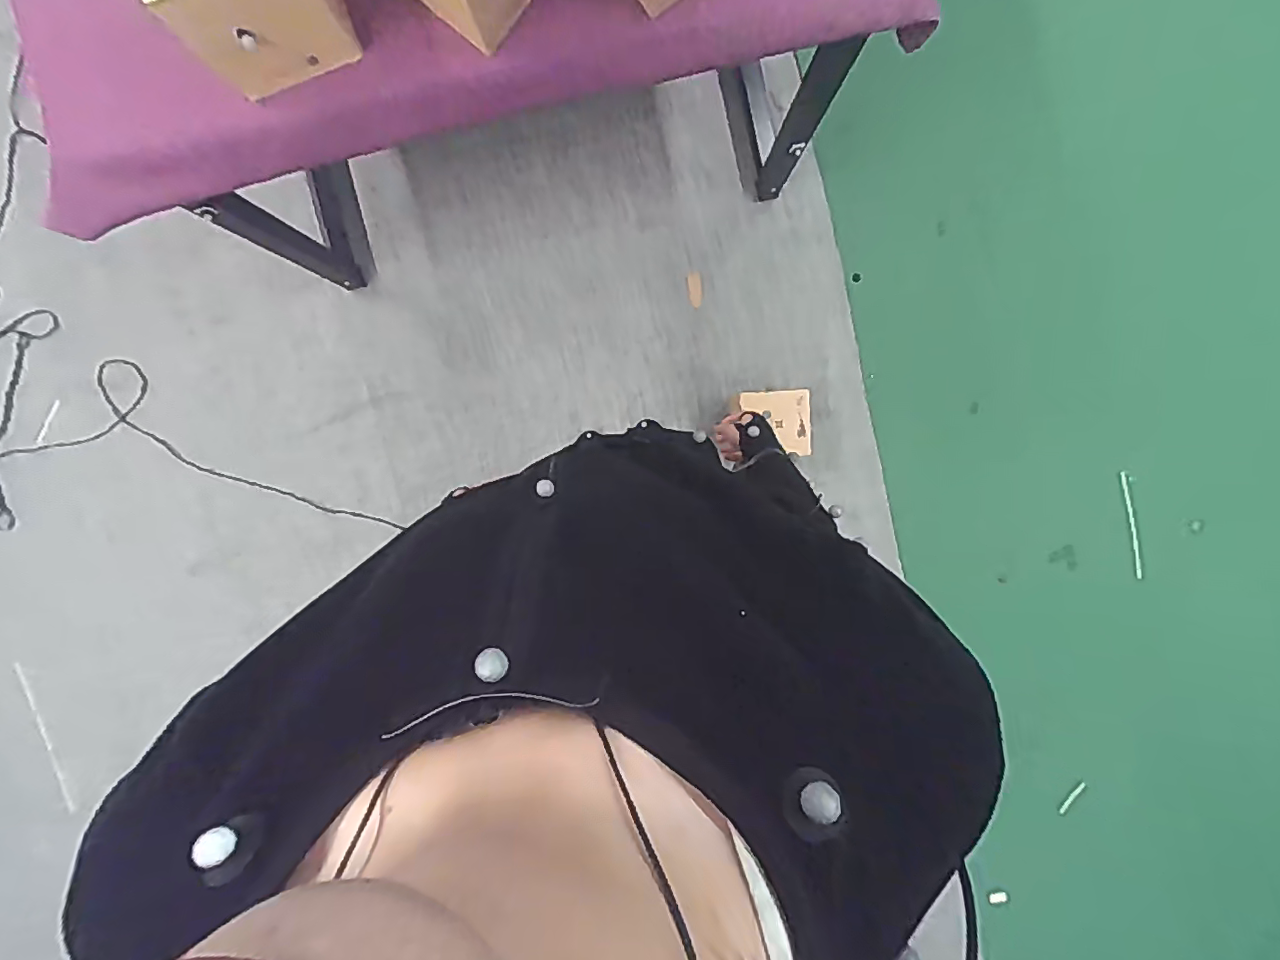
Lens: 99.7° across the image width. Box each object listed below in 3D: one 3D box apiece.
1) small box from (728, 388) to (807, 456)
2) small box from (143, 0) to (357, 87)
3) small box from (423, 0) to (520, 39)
[{"bbox_3d":[0.328,-0.149,1.419,0.179,0.176,0.168,-3,95,0],"label":"small box"},{"bbox_3d":[-0.476,-0.614,0.642,0.168,0.176,0.179,-20,93,1],"label":"small box"},{"bbox_3d":[-0.220,-0.681,0.637,0.179,0.176,0.168,38,93,-3],"label":"small box"}]
